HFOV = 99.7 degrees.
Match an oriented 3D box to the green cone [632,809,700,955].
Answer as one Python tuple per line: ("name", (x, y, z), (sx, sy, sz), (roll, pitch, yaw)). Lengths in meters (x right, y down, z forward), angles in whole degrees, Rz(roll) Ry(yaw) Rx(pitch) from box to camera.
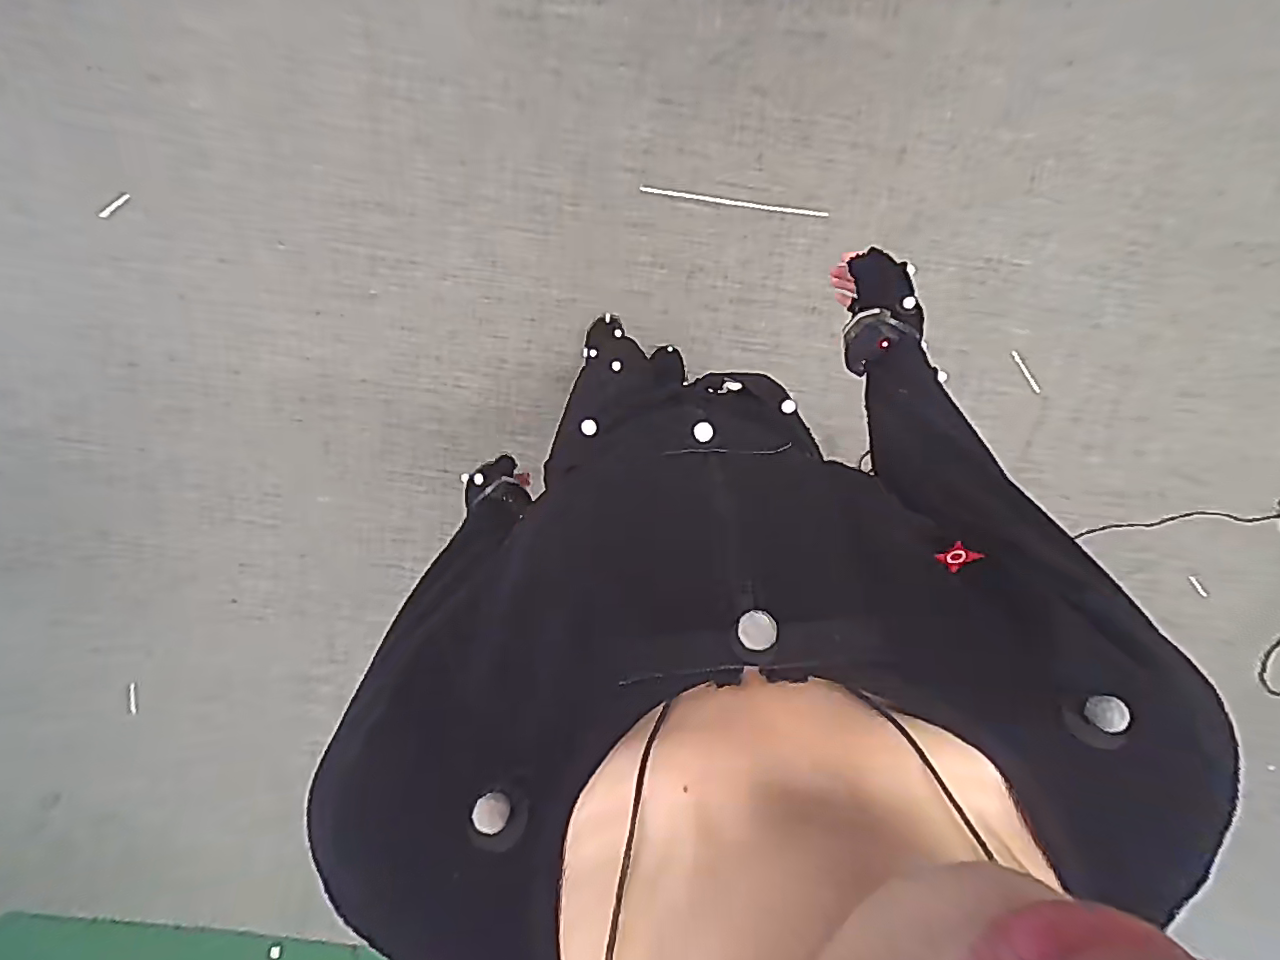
("green cone", (0.087, 1.201, 1.593), (0.200, 0.368, 0.202), (10, 101, -3))

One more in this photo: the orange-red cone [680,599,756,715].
("orange-red cone", (0.230, 0.499, 1.443), (0.198, 0.360, 0.199), (12, 104, -2))
